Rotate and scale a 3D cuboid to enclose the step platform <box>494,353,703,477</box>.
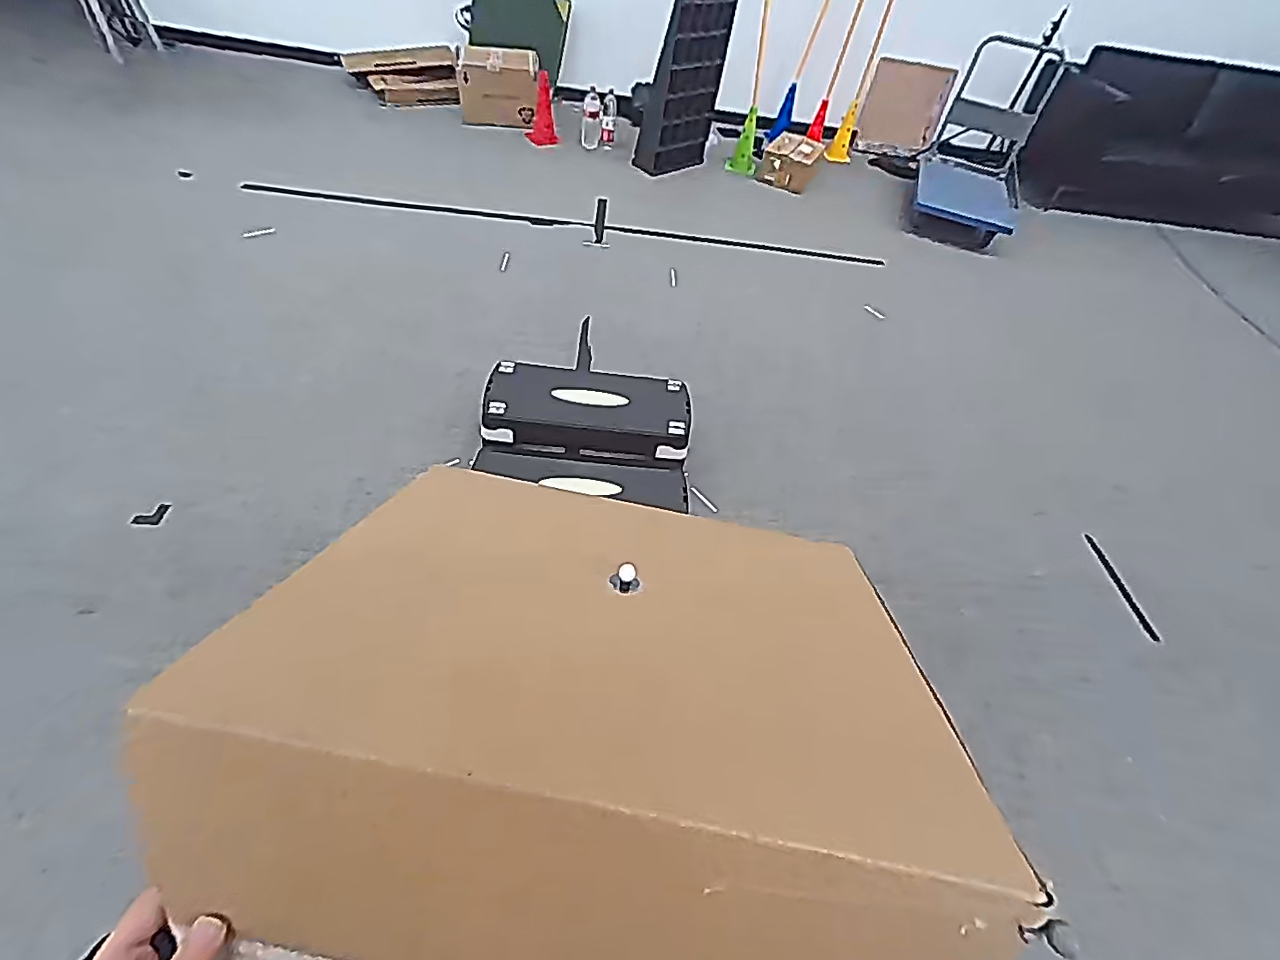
[{"bbox_3d":[-0.132,-0.220,1.811,0.684,0.204,0.286,10,50,-3],"label":"step platform"}]
